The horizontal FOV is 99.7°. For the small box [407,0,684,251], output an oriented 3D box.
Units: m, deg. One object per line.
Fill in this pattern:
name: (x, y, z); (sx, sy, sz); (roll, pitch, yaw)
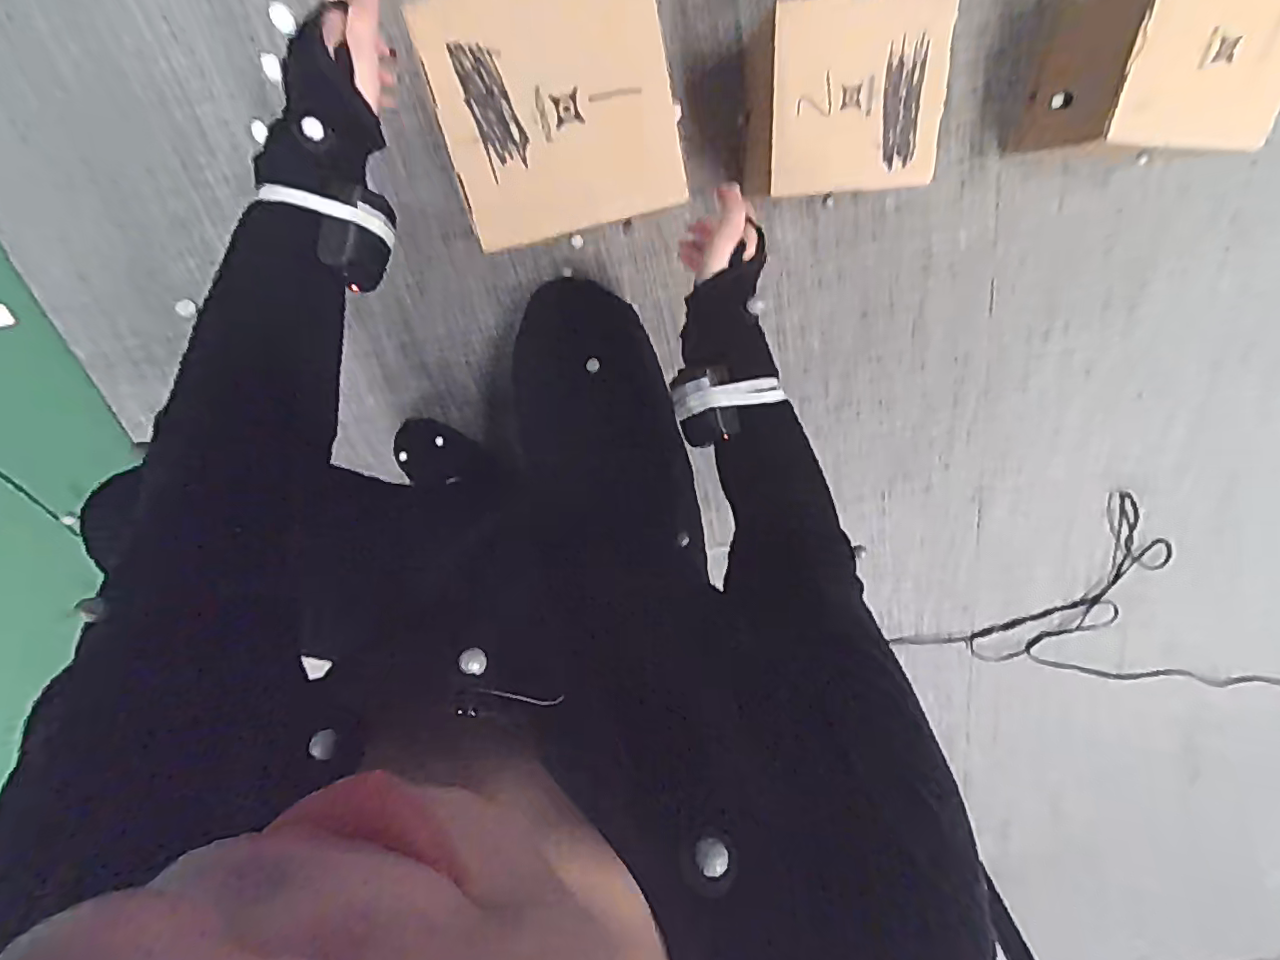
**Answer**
small box: (-0.066, -0.308, 0.477); (0.179, 0.176, 0.168); (-12, 116, 4)

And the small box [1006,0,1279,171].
small box: (0.562, -0.448, 0.604); (0.179, 0.176, 0.168); (2, 117, -3)
